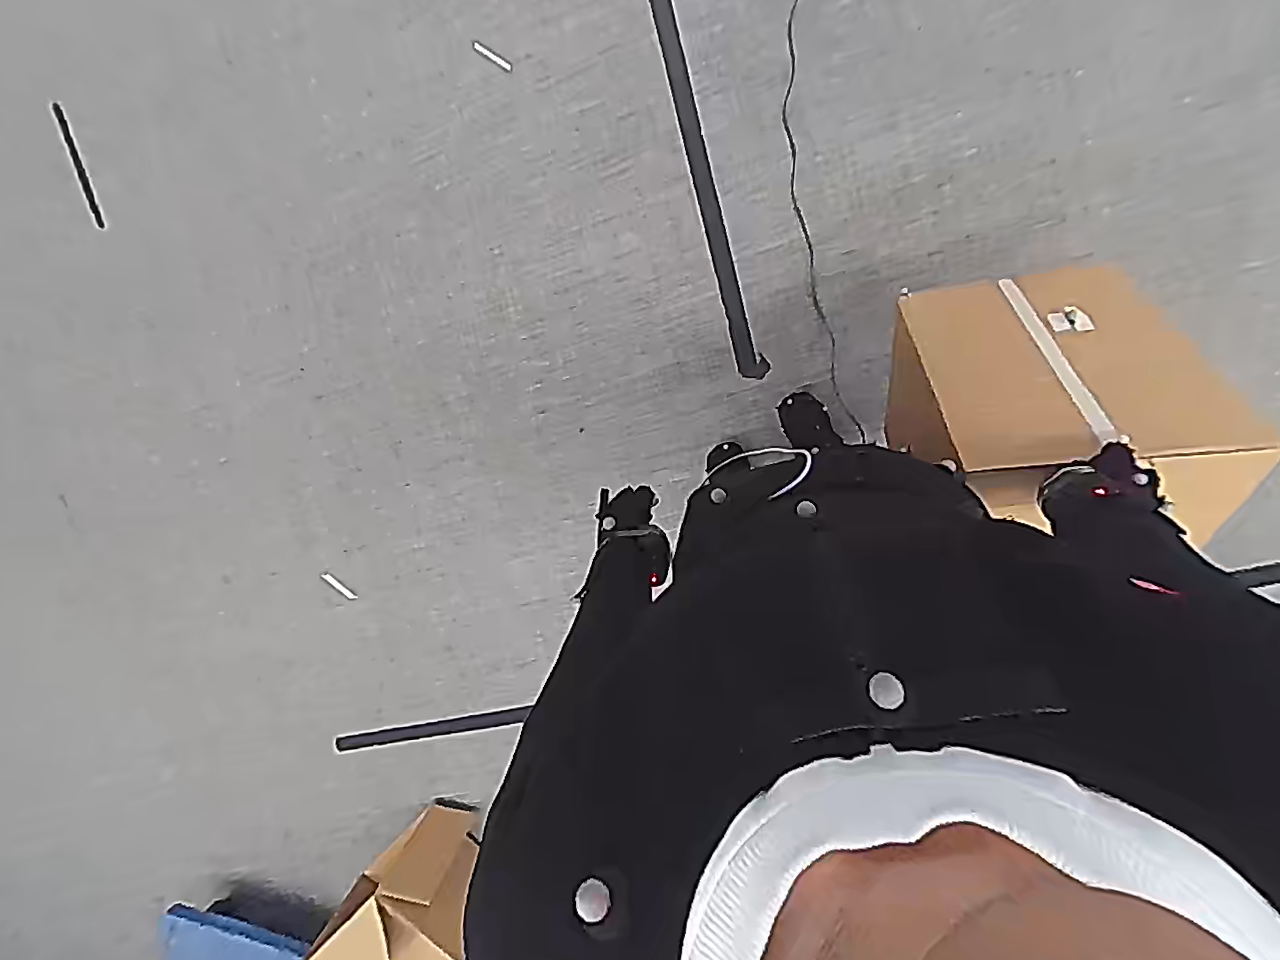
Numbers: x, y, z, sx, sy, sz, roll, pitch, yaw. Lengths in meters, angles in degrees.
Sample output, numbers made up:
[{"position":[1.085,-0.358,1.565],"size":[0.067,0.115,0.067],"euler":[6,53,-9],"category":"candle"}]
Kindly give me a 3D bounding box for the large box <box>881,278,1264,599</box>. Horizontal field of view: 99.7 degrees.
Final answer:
[{"position":[0.599,-0.064,0.868],"size":[0.320,0.408,0.320],"euler":[-4,136,13],"category":"large box"}]
